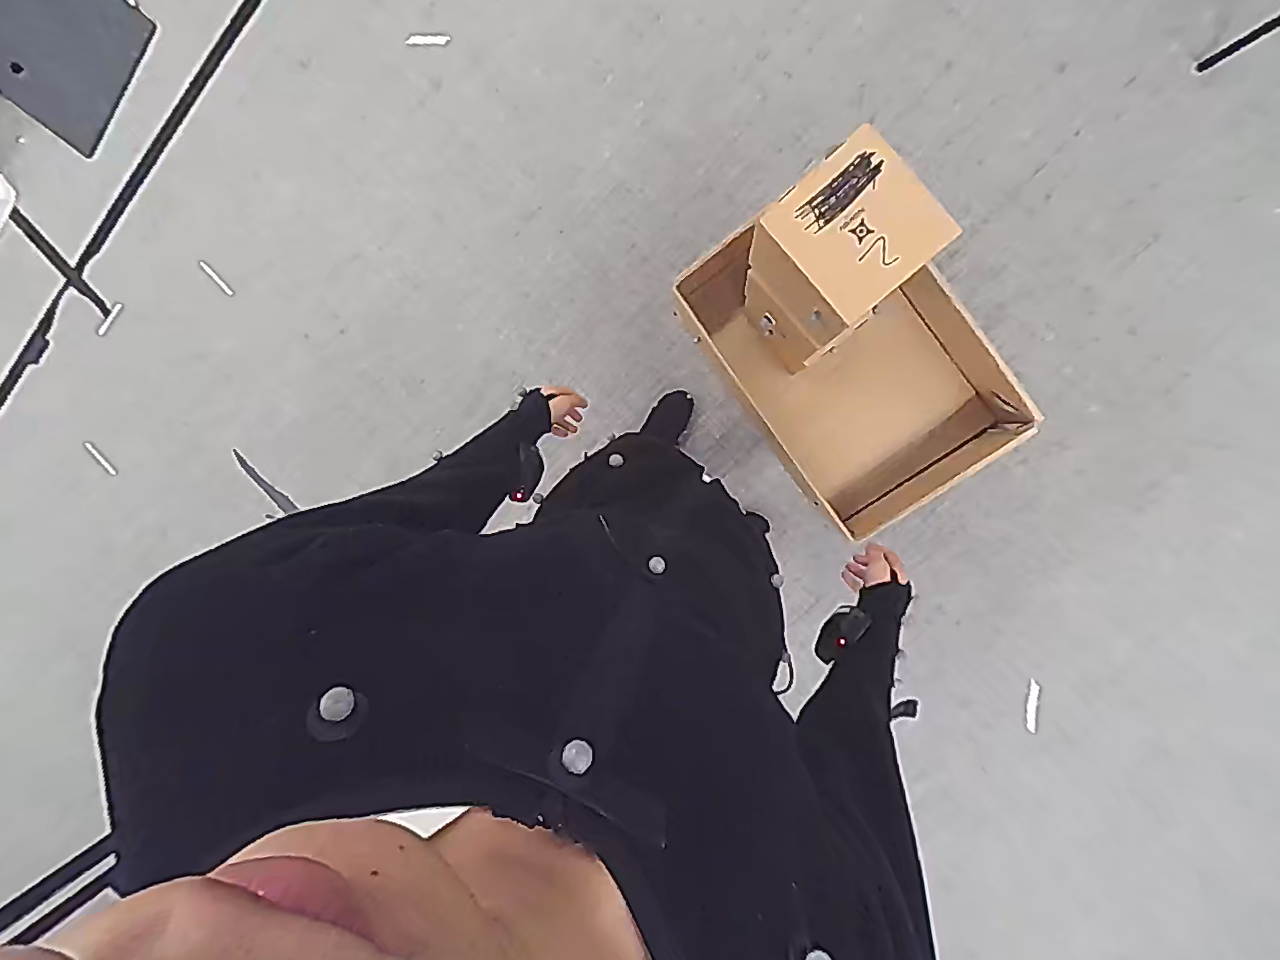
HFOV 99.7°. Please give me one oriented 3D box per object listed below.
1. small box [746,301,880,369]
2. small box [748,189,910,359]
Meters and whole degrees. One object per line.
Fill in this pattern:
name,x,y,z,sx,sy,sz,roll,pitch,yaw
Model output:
small box,0.320,-0.332,1.047,0.168,0.176,0.179,-39,91,11
small box,0.293,-0.323,0.886,0.179,0.176,0.168,-41,89,10
